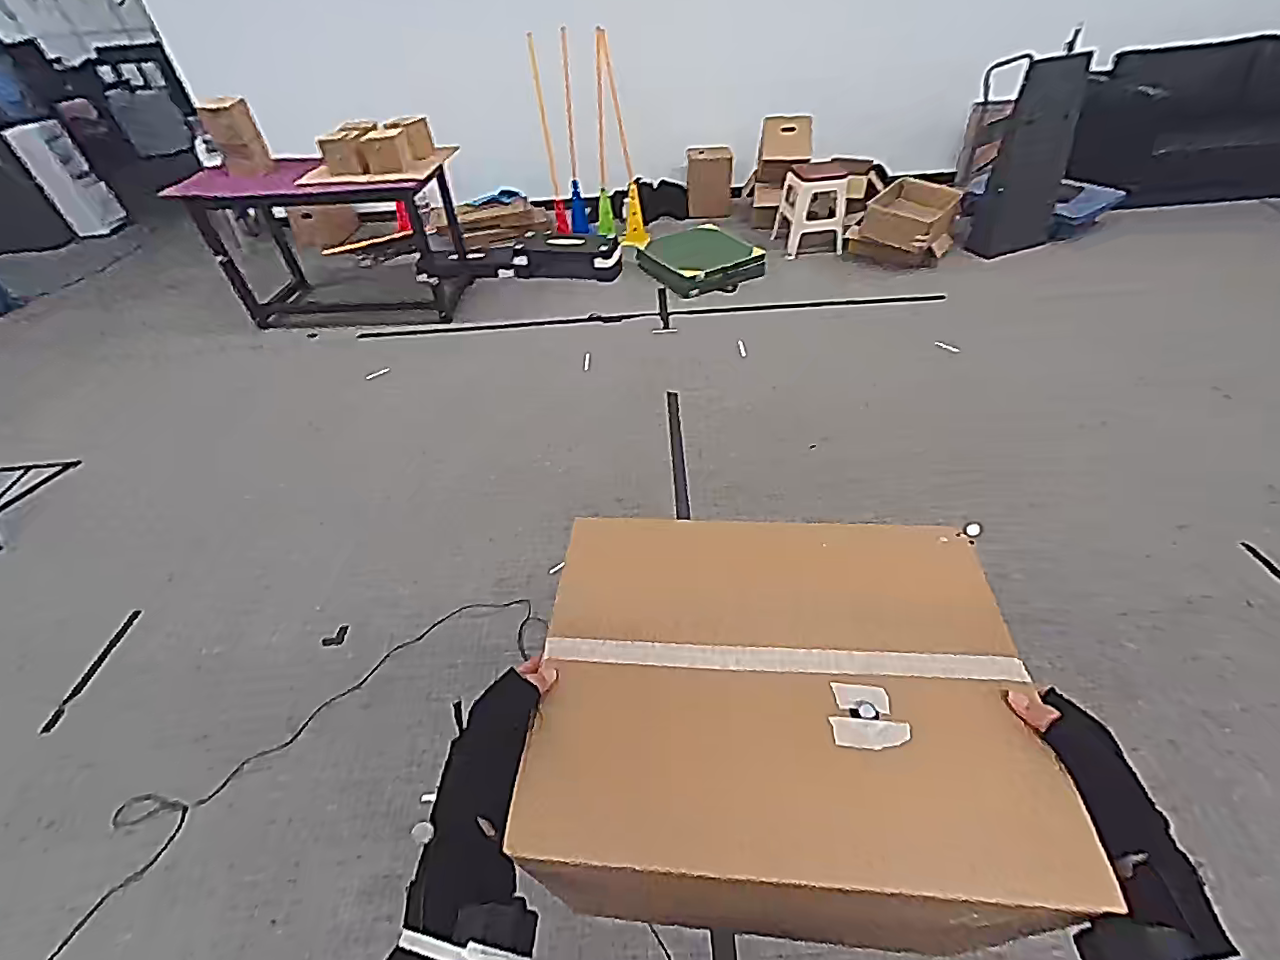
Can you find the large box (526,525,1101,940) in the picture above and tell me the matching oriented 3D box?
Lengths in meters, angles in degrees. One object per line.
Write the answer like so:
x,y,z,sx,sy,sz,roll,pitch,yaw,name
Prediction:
0.131,0.265,0.584,0.408,0.320,0.320,1,46,6,large box
